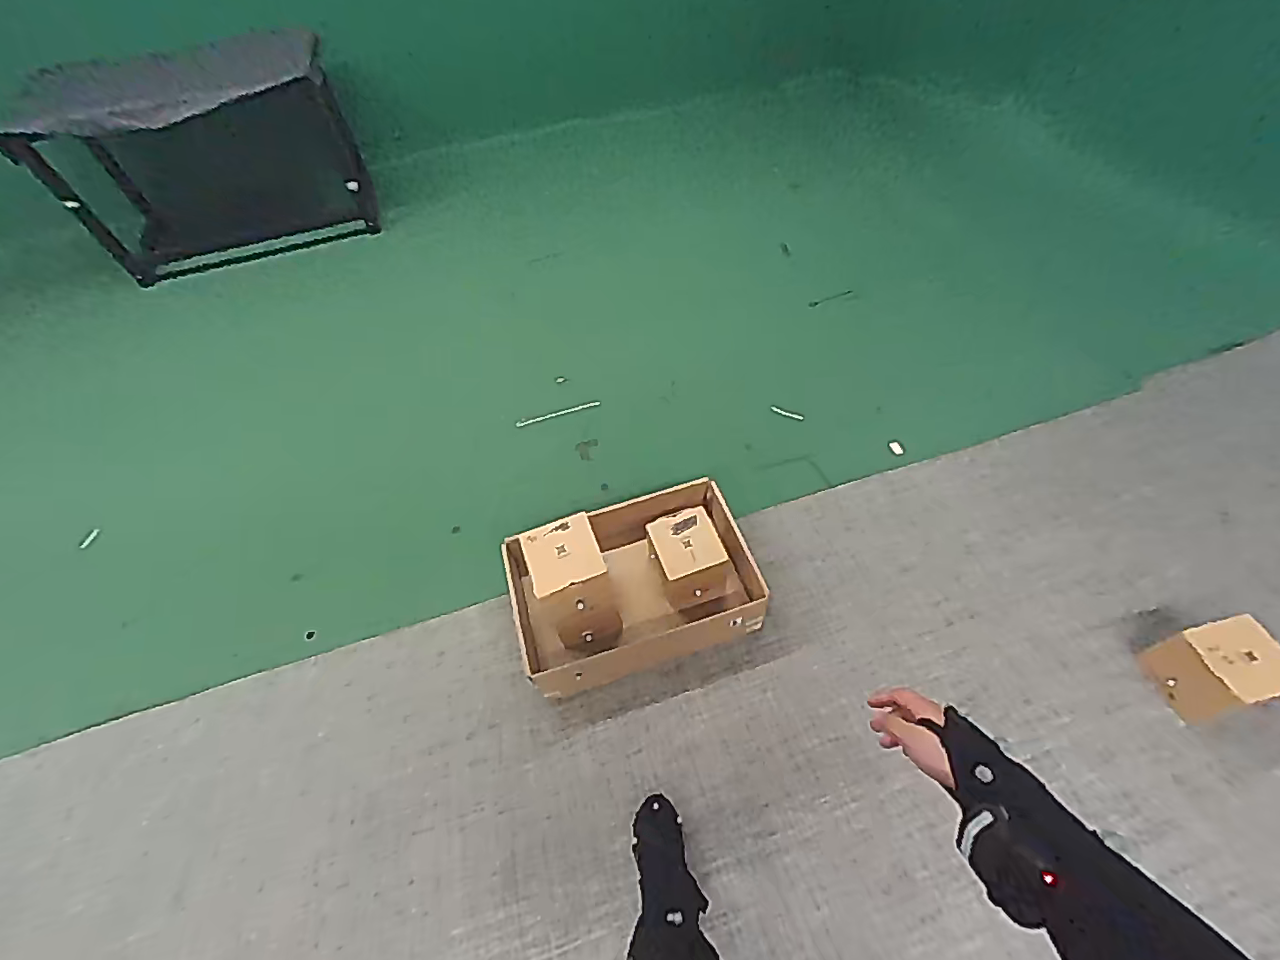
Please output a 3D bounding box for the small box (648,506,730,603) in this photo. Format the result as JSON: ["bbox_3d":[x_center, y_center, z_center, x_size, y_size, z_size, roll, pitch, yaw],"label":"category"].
[{"bbox_3d":[0.128,0.202,1.453,0.168,0.176,0.179,-18,57,-7],"label":"small box"}]

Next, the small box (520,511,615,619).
[{"bbox_3d":[-0.165,0.208,1.272,0.168,0.176,0.179,-19,56,-9],"label":"small box"}]

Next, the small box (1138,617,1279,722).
[{"bbox_3d":[1.324,0.438,1.241,0.179,0.176,0.168,-13,53,-4],"label":"small box"}]
